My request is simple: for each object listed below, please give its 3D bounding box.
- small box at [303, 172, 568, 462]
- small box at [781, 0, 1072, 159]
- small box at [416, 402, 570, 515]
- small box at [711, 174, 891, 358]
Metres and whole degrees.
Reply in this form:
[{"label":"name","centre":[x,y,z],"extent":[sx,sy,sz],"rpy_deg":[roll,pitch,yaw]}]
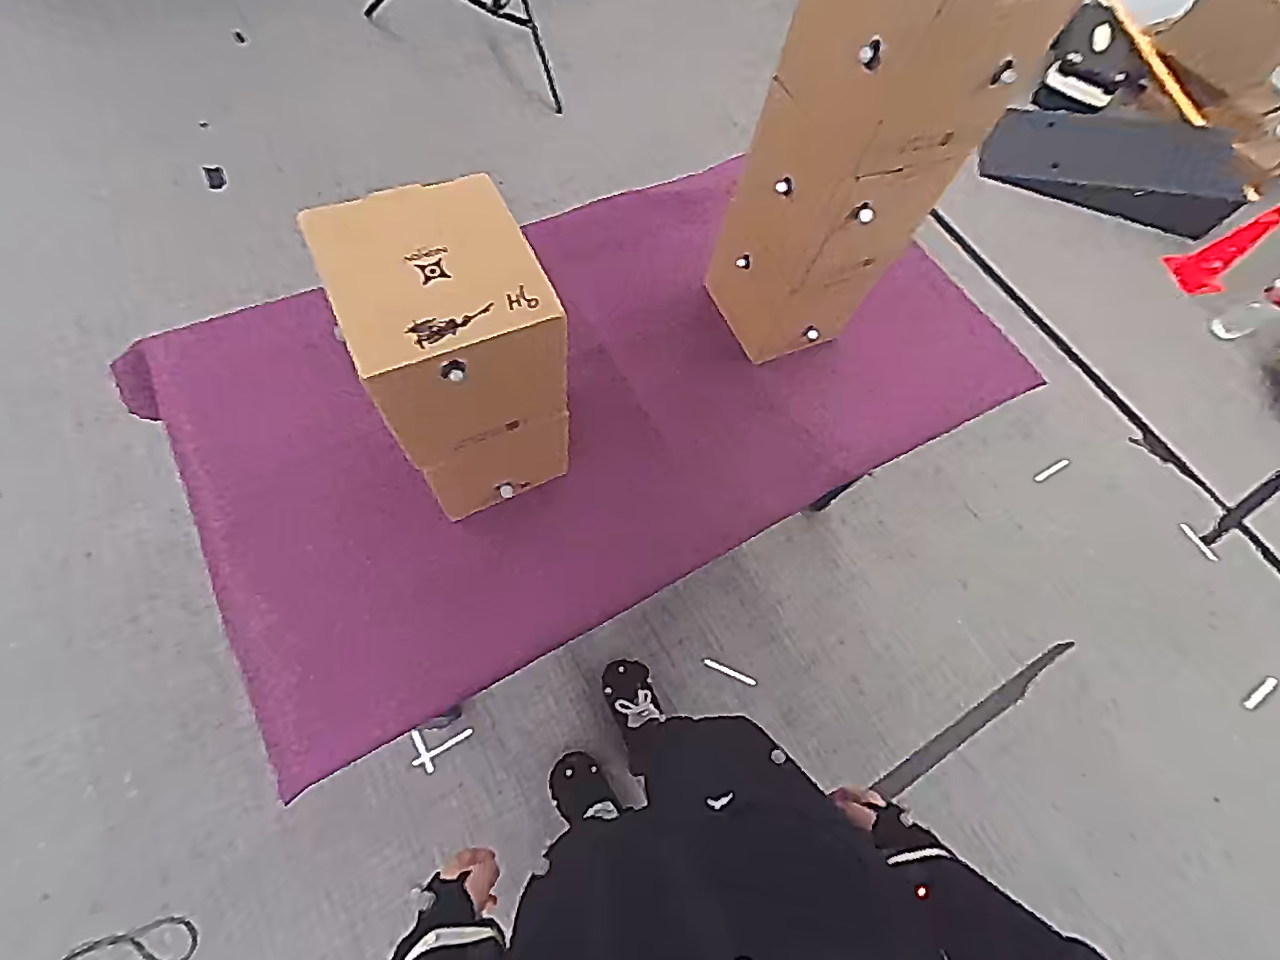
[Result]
[{"label":"small box","centre":[-0.178,-0.146,0.512],"extent":[0.168,0.176,0.179],"rpy_deg":[-23,72,-16]},{"label":"small box","centre":[0.265,-0.435,0.514],"extent":[0.168,0.176,0.179],"rpy_deg":[-19,70,-15]},{"label":"small box","centre":[-0.198,-0.084,0.663],"extent":[0.168,0.176,0.179],"rpy_deg":[-24,73,-16]},{"label":"small box","centre":[0.227,-0.317,0.816],"extent":[0.168,0.176,0.179],"rpy_deg":[-21,72,-14]}]
